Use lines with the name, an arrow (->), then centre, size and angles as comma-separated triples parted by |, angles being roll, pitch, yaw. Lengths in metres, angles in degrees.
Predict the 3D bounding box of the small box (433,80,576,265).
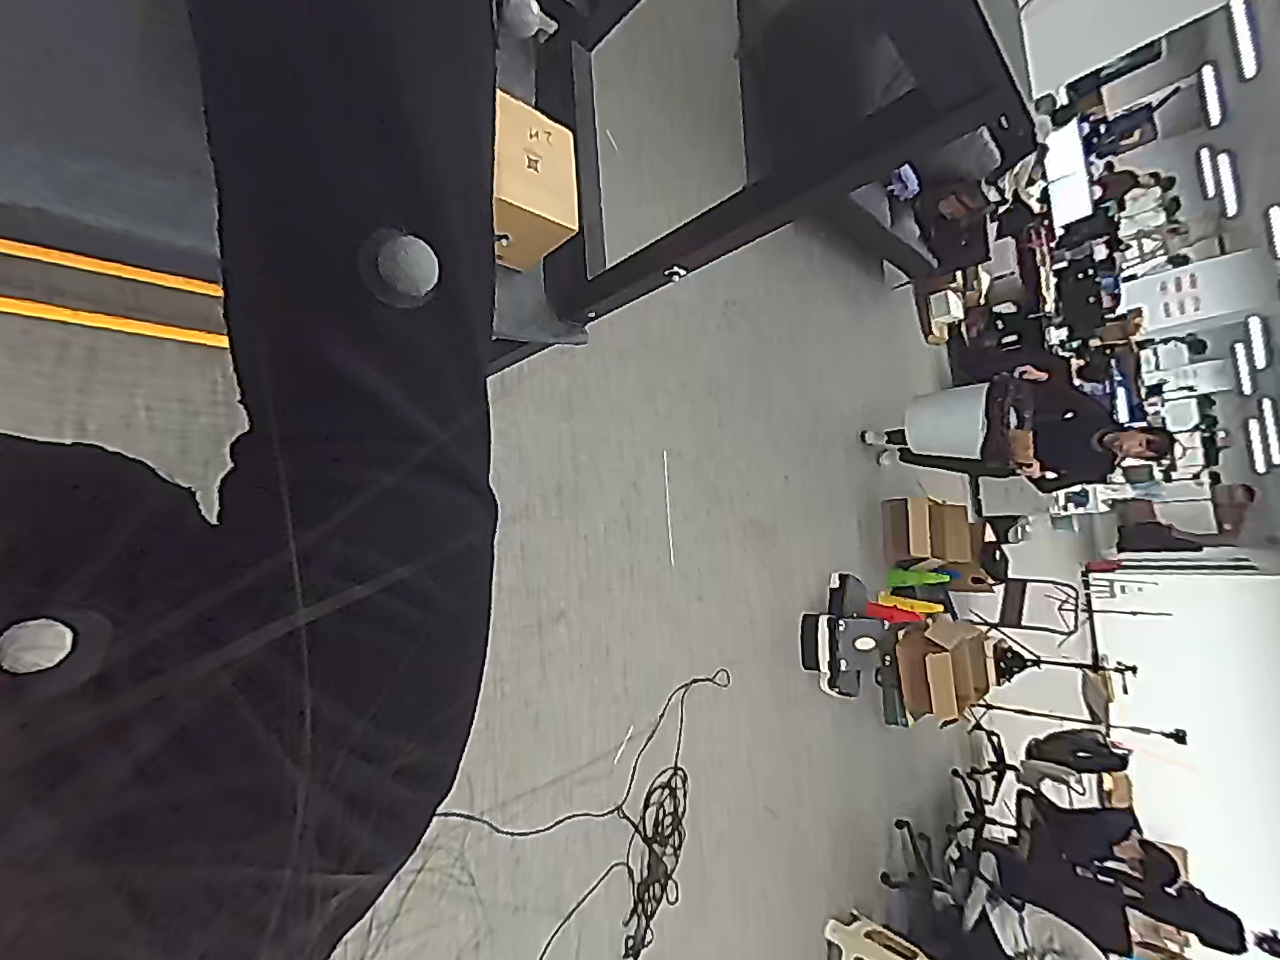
small box -> -0.222, -0.478, 0.878 | 0.168, 0.176, 0.179 | 2, 81, -45
